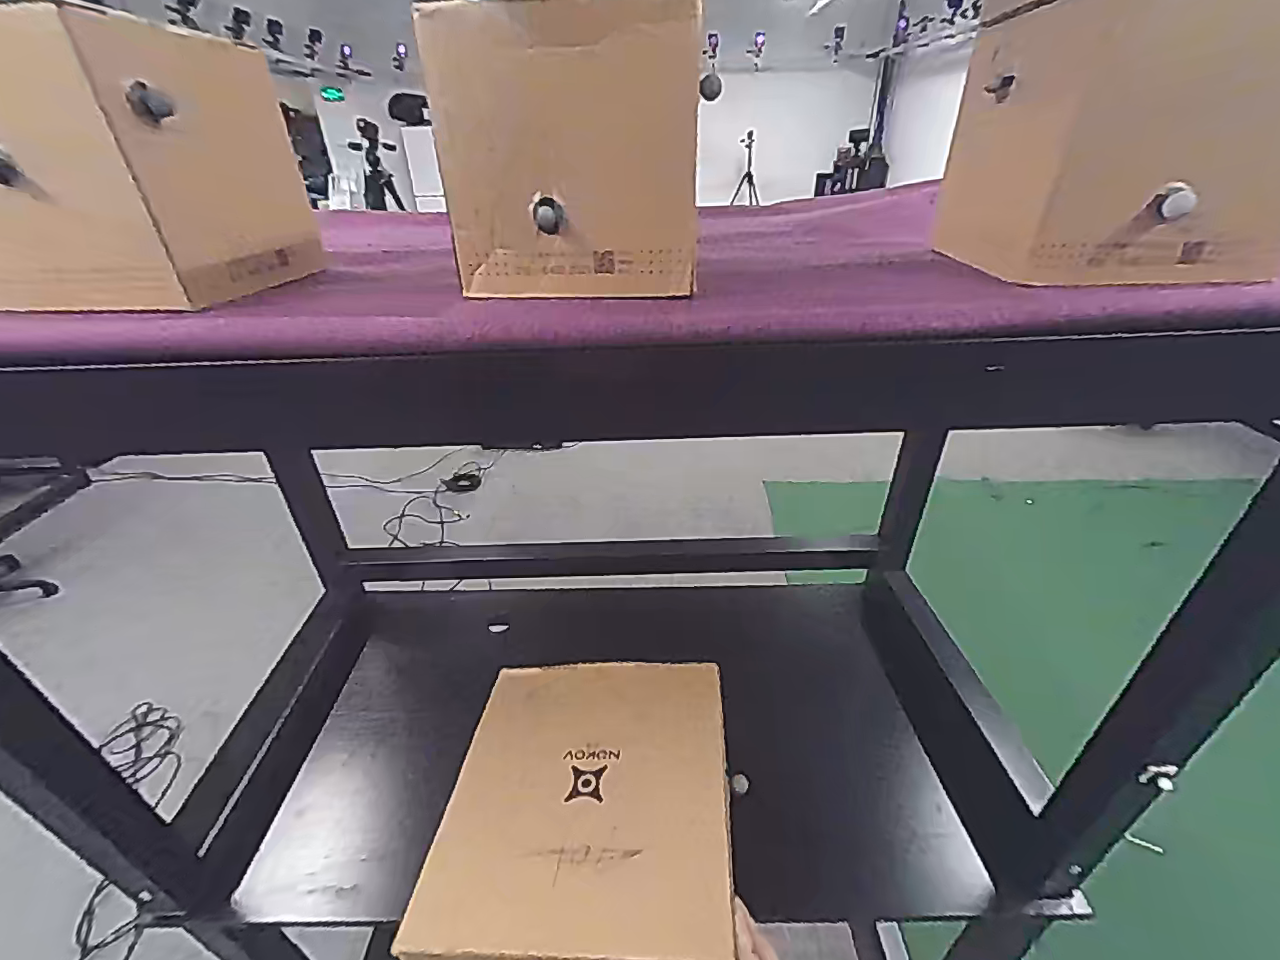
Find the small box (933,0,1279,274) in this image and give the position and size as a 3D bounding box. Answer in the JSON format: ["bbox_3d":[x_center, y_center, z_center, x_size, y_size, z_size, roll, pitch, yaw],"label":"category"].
[{"bbox_3d":[0.341,-0.256,0.393,0.168,0.176,0.179,0,33,6],"label":"small box"}]

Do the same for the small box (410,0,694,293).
[{"bbox_3d":[-0.044,-0.247,0.410,0.168,0.176,0.179,1,31,5],"label":"small box"}]
